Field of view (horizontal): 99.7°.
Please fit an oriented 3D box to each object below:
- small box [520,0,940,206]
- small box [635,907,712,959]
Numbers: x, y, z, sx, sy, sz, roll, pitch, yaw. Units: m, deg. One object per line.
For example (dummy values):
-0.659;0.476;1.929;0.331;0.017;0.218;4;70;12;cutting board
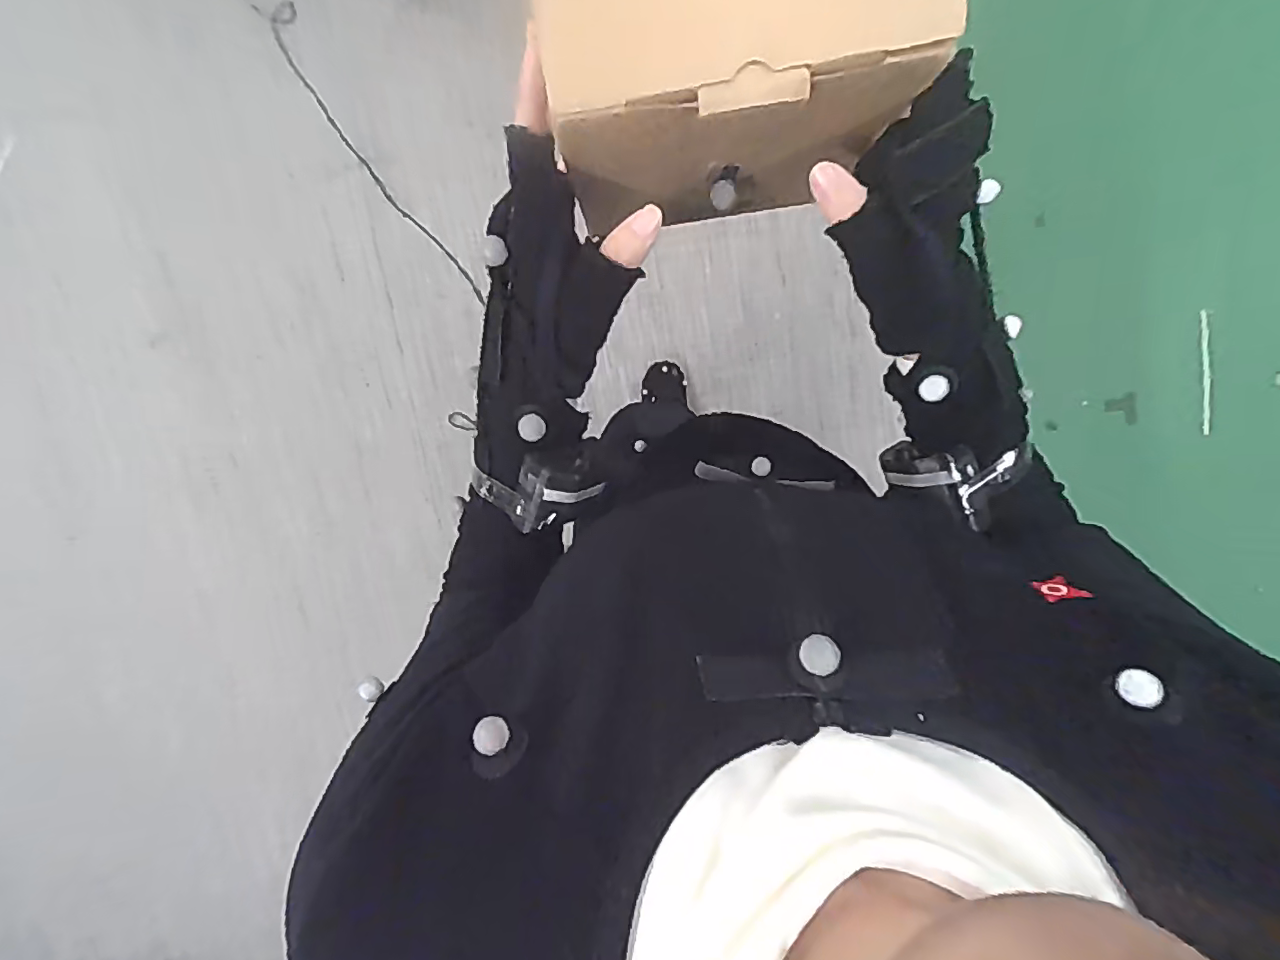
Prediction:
0.030;-0.259;0.279;0.168;0.176;0.179;-7;100;2;small box
0.084;1.175;1.293;0.179;0.176;0.168;-11;98;2;small box
